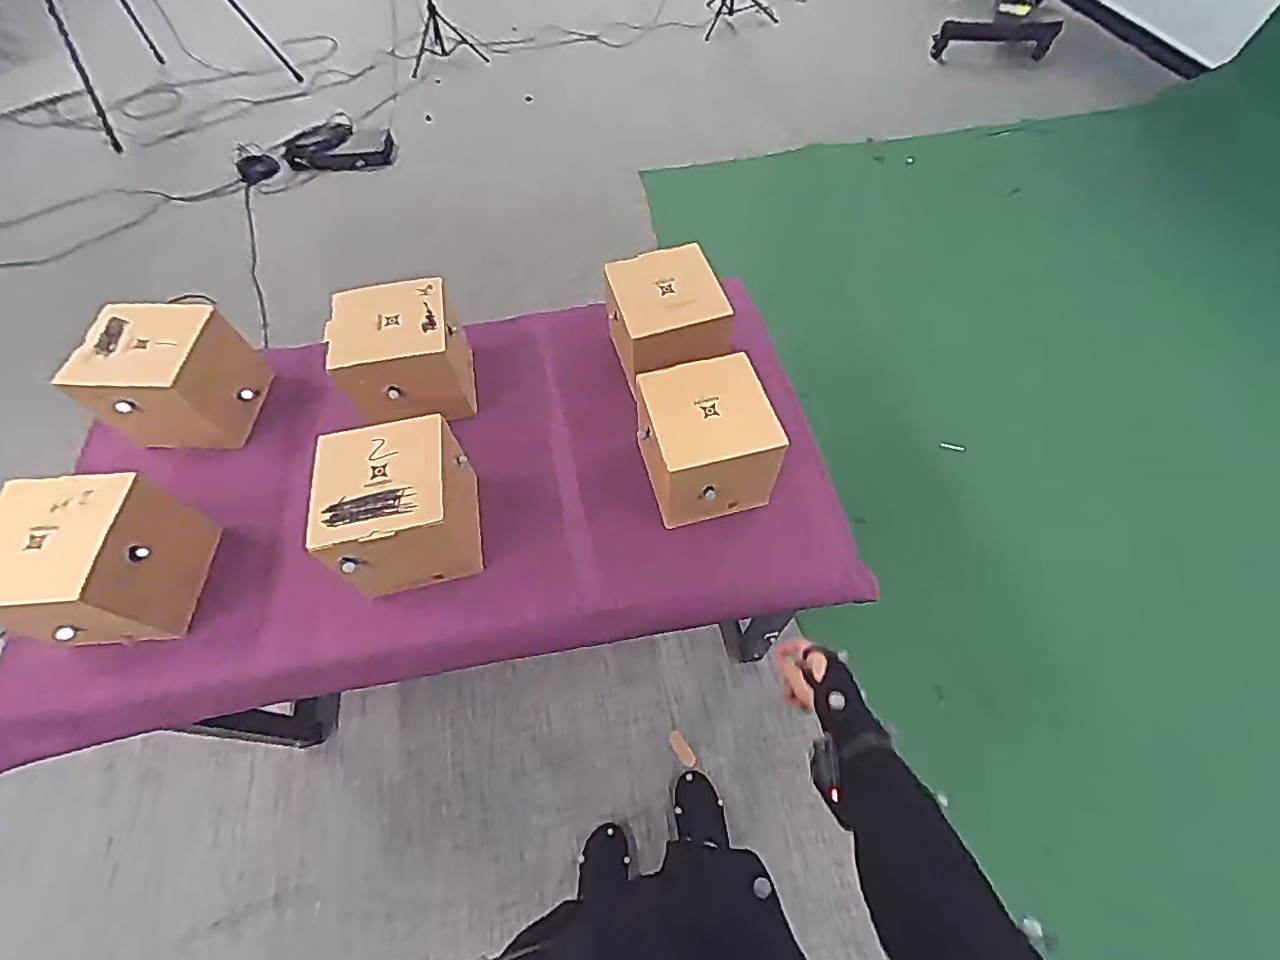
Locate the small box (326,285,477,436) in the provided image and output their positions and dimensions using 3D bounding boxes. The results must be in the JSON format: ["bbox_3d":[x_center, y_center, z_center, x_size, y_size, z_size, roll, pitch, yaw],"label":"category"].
[{"bbox_3d":[-0.385,-0.192,0.899,0.179,0.176,0.168,-11,61,-5],"label":"small box"}]

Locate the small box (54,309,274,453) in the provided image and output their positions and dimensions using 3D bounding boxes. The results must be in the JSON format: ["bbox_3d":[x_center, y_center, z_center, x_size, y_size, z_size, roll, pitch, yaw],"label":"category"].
[{"bbox_3d":[-0.753,-0.156,0.881,0.179,0.176,0.168,1,60,0],"label":"small box"}]

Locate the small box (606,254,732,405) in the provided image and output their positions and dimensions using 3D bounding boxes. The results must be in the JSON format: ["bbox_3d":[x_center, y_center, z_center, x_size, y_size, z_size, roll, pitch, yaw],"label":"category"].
[{"bbox_3d":[0.044,-0.250,0.927,0.168,0.176,0.179,-15,61,-6],"label":"small box"}]

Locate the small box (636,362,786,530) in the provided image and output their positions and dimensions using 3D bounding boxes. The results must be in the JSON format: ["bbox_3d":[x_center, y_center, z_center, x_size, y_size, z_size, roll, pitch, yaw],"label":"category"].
[{"bbox_3d":[0.096,-0.041,0.801,0.168,0.176,0.179,-13,57,-6],"label":"small box"}]

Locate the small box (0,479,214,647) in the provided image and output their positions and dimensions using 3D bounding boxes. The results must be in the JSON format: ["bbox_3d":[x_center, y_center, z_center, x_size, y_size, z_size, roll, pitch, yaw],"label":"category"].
[{"bbox_3d":[-0.721,0.117,0.717,0.168,0.176,0.179,-3,59,-2],"label":"small box"}]
